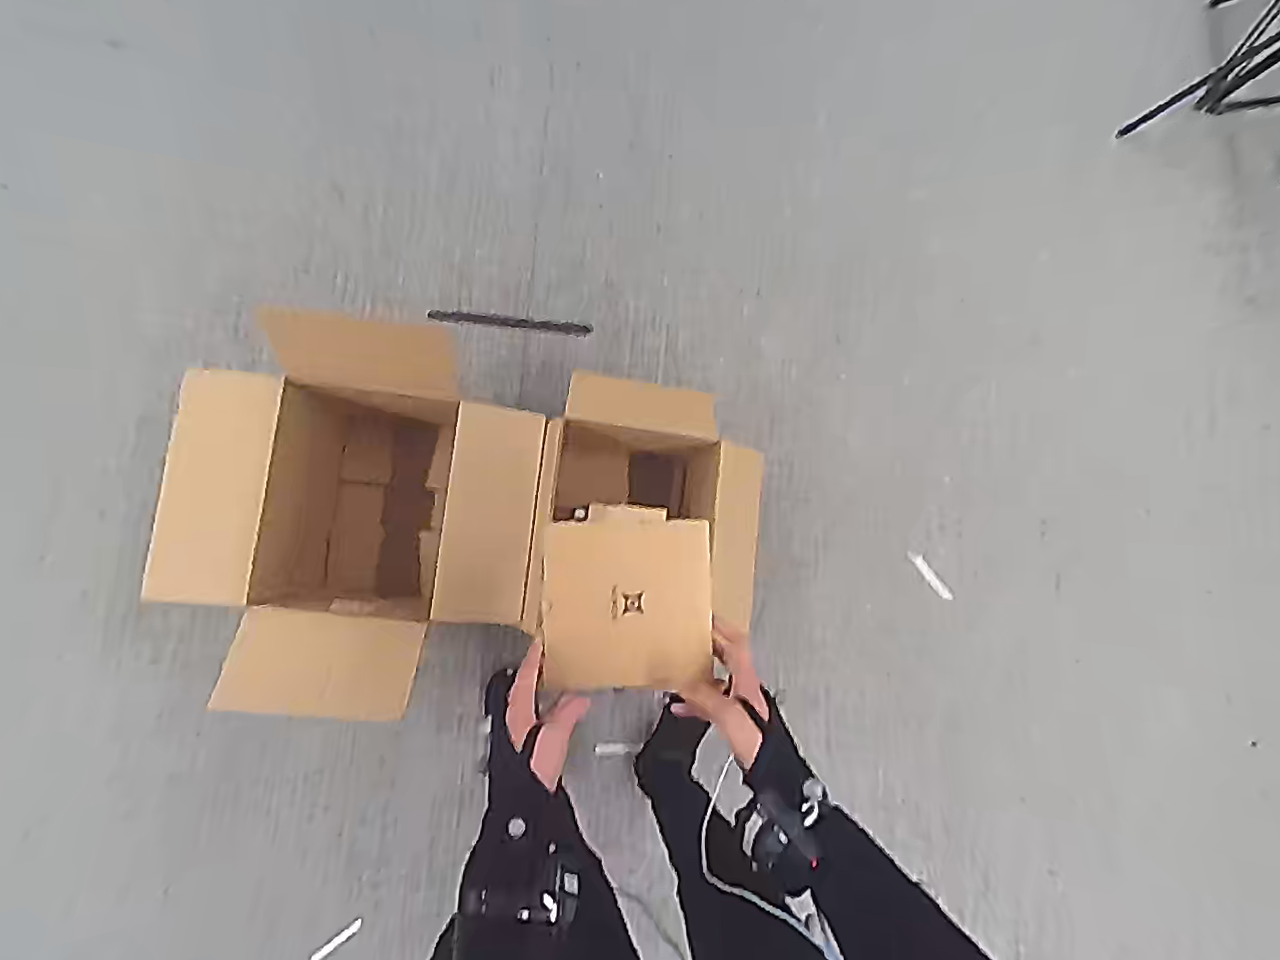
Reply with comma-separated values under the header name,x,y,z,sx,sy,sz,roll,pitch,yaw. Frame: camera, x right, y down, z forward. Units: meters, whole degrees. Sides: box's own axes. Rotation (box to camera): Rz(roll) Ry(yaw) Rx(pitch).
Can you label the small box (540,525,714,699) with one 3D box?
name,x,y,z,sx,sy,sz,roll,pitch,yaw
small box,-0.022,0.137,0.622,0.179,0.176,0.168,-1,86,-6
